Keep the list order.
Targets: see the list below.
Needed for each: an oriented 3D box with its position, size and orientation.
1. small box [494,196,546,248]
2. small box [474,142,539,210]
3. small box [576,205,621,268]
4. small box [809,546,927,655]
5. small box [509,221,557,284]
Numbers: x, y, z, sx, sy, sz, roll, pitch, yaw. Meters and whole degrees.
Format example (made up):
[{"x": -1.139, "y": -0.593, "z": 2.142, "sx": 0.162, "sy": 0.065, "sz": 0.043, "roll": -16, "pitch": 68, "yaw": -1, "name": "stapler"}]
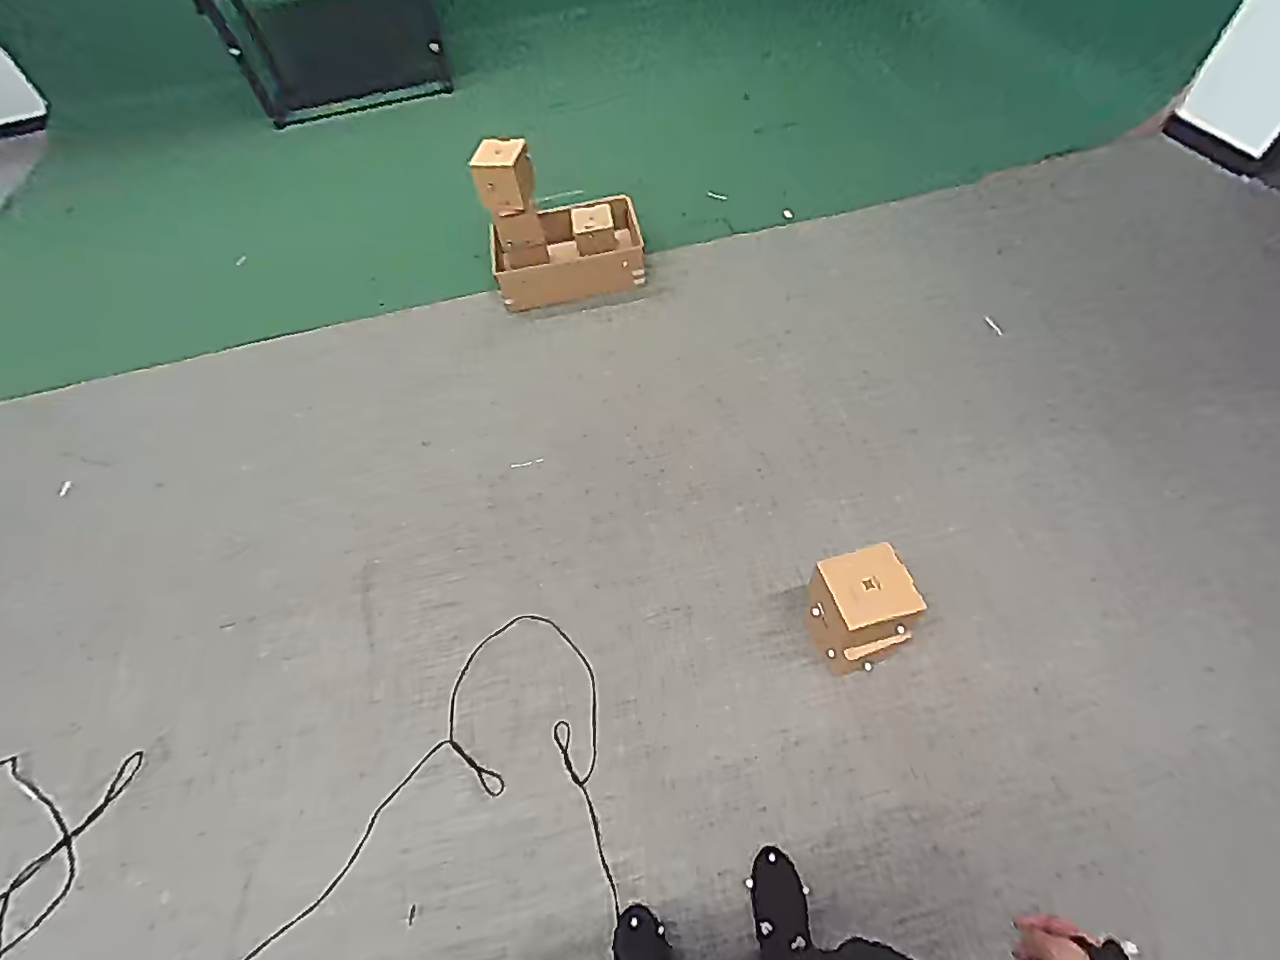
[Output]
[{"x": -0.477, "y": -1.044, "z": 2.152, "sx": 0.168, "sy": 0.176, "sz": 0.179, "roll": -12, "pitch": 56, "yaw": -3, "name": "small box"}, {"x": -0.487, "y": -1.128, "z": 2.013, "sx": 0.168, "sy": 0.176, "sz": 0.179, "roll": 6, "pitch": 57, "yaw": 10, "name": "small box"}, {"x": -0.178, "y": -1.041, "z": 2.316, "sx": 0.168, "sy": 0.176, "sz": 0.179, "roll": -9, "pitch": 57, "yaw": 1, "name": "small box"}, {"x": 0.506, "y": 0.278, "z": 1.230, "sx": 0.179, "sy": 0.176, "sz": 0.168, "roll": -15, "pitch": 55, "yaw": -3, "name": "small box"}, {"x": -0.459, "y": -0.964, "z": 2.294, "sx": 0.168, "sy": 0.176, "sz": 0.179, "roll": -14, "pitch": 57, "yaw": -3, "name": "small box"}]
